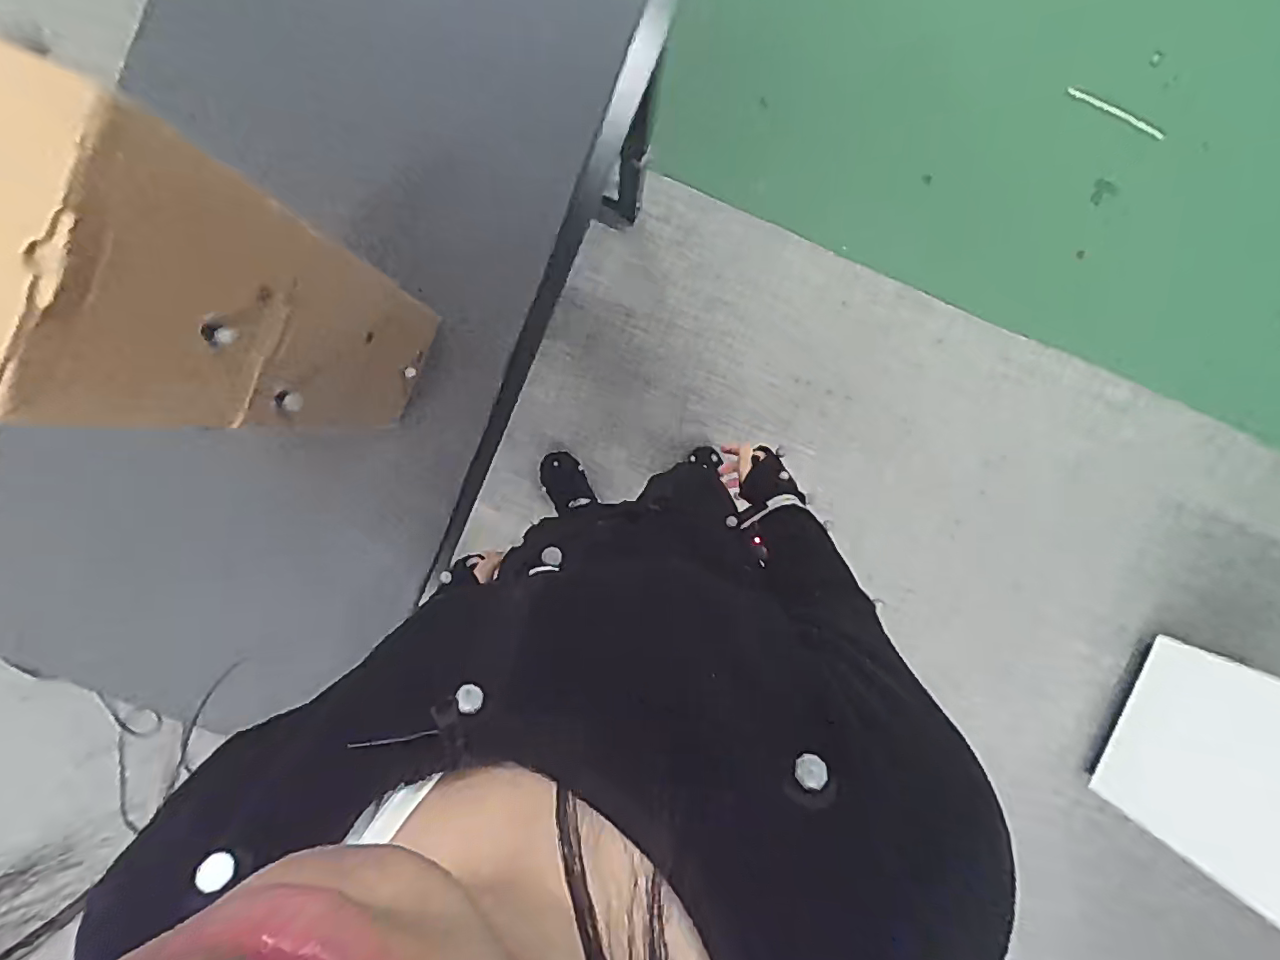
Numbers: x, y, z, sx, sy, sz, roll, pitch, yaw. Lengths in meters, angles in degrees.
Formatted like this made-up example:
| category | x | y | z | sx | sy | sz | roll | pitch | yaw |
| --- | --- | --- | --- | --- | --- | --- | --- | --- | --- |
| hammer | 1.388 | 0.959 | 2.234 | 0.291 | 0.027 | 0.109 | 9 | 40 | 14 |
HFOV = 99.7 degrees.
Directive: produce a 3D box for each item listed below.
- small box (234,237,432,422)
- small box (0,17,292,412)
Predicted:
| category | x | y | z | sx | sy | sz | roll | pitch | yaw |
| --- | --- | --- | --- | --- | --- | --- | --- | --- | --- |
| small box | -0.376 | -0.172 | 0.630 | 0.179 | 0.176 | 0.168 | 24 | 93 | -5 |
| small box | -0.351 | -0.144 | 0.306 | 0.179 | 0.176 | 0.168 | 22 | 93 | -5 |
